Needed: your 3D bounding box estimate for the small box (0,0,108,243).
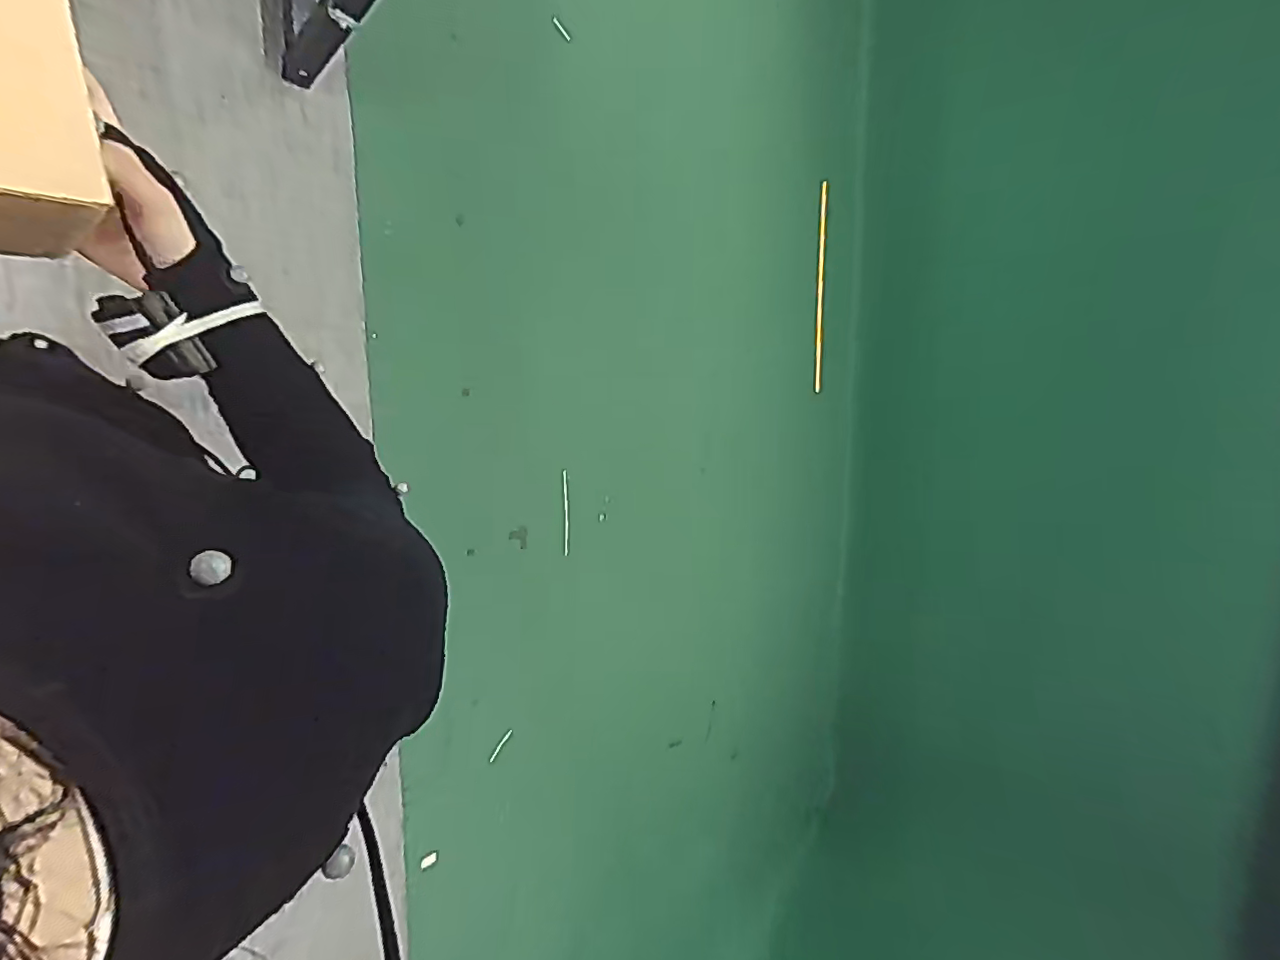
[{"bbox_3d":[-0.381,-0.207,0.232,0.179,0.176,0.168,-17,110,-49],"label":"small box"}]
